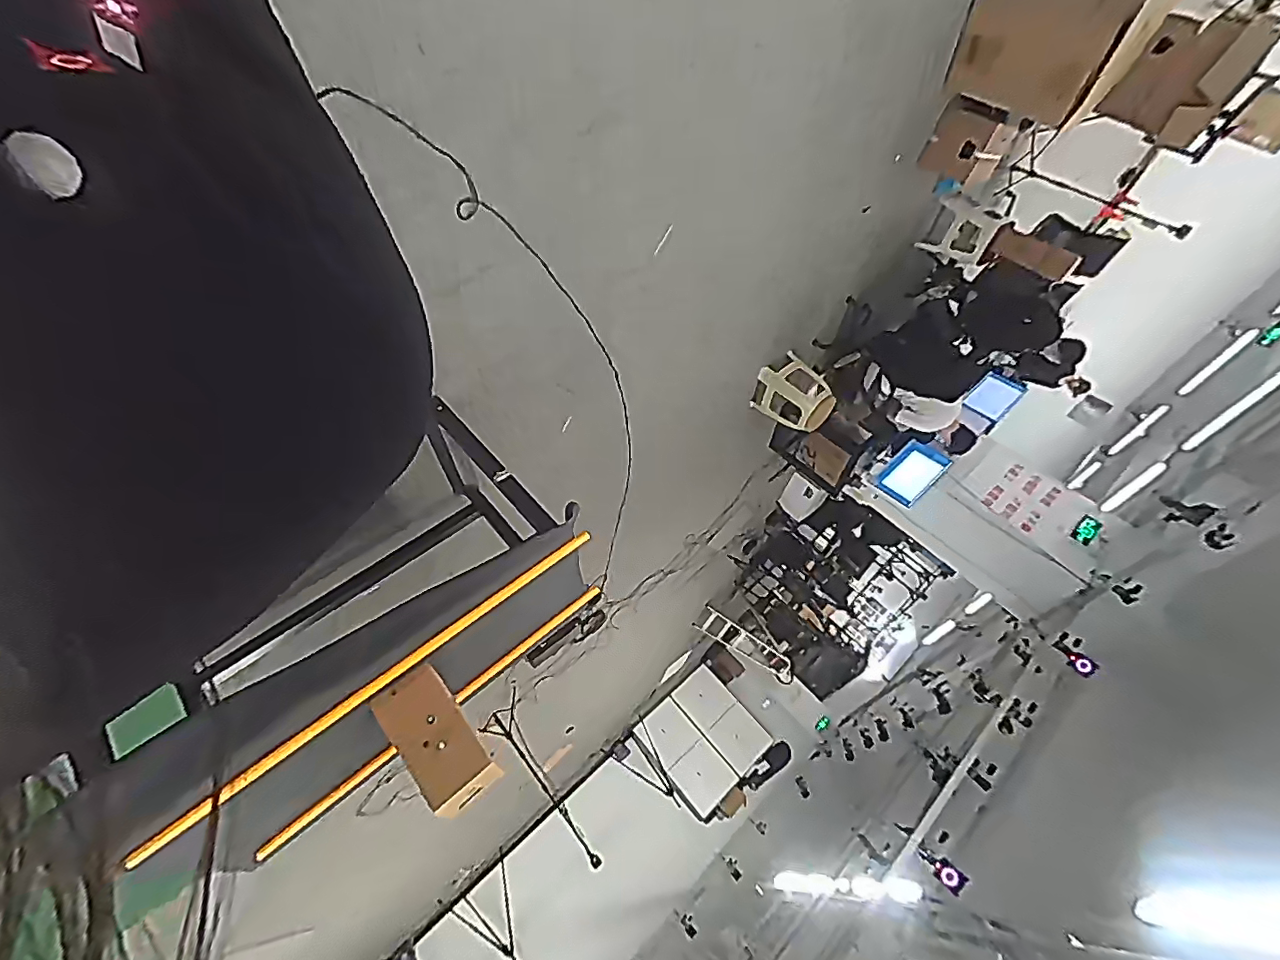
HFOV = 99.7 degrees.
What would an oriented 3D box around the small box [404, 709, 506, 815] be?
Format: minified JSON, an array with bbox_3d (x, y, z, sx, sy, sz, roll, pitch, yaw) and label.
[{"bbox_3d":[-0.473,0.723,1.393,0.168,0.176,0.179,-36,153,-24],"label":"small box"}]

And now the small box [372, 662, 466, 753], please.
[{"bbox_3d":[-0.585,0.623,1.460,0.168,0.176,0.179,-36,154,-25],"label":"small box"}]
